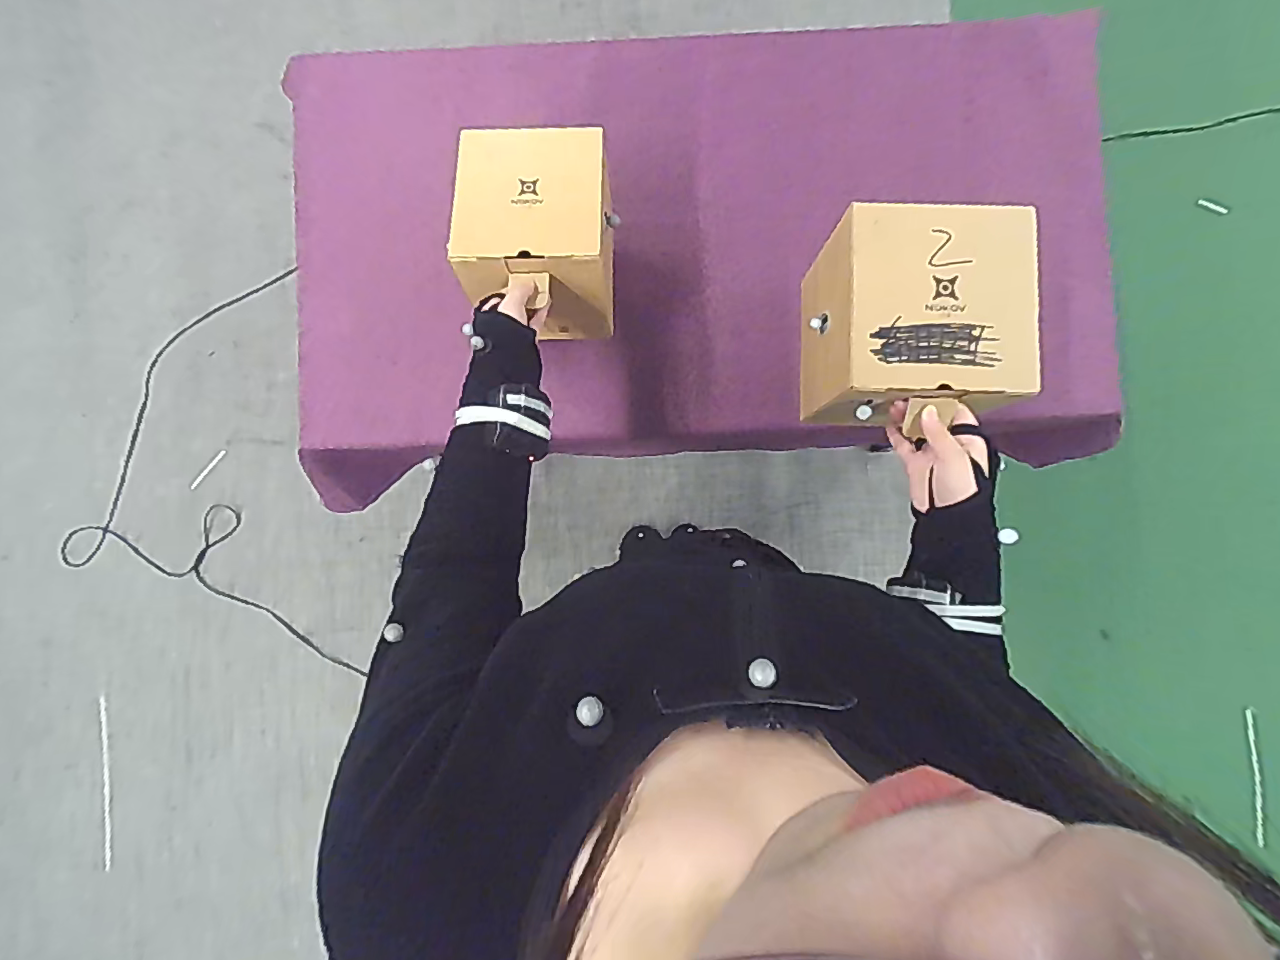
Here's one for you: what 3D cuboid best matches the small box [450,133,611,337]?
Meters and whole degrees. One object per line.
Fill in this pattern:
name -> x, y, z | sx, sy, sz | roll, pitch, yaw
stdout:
small box -> -0.126, -0.304, 0.692 | 0.168, 0.176, 0.179 | 0, 75, 1
